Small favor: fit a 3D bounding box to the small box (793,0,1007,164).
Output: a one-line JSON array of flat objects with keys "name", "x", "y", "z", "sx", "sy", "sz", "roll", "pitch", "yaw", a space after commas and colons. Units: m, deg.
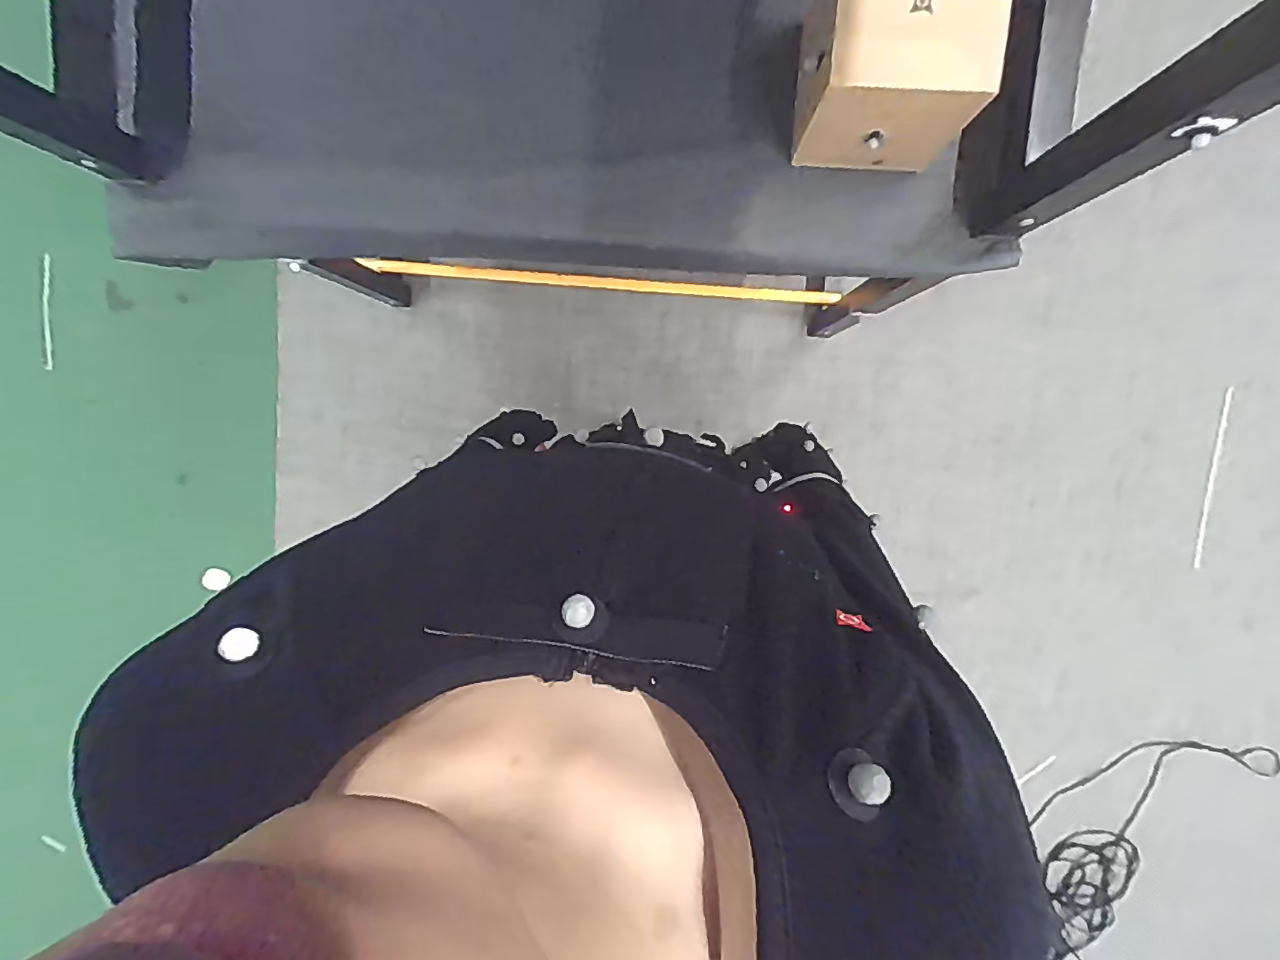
[{"name": "small box", "x": 0.275, "y": -0.479, "z": 0.600, "sx": 0.168, "sy": 0.176, "sz": 0.179, "roll": 5, "pitch": 96, "yaw": 2}]
